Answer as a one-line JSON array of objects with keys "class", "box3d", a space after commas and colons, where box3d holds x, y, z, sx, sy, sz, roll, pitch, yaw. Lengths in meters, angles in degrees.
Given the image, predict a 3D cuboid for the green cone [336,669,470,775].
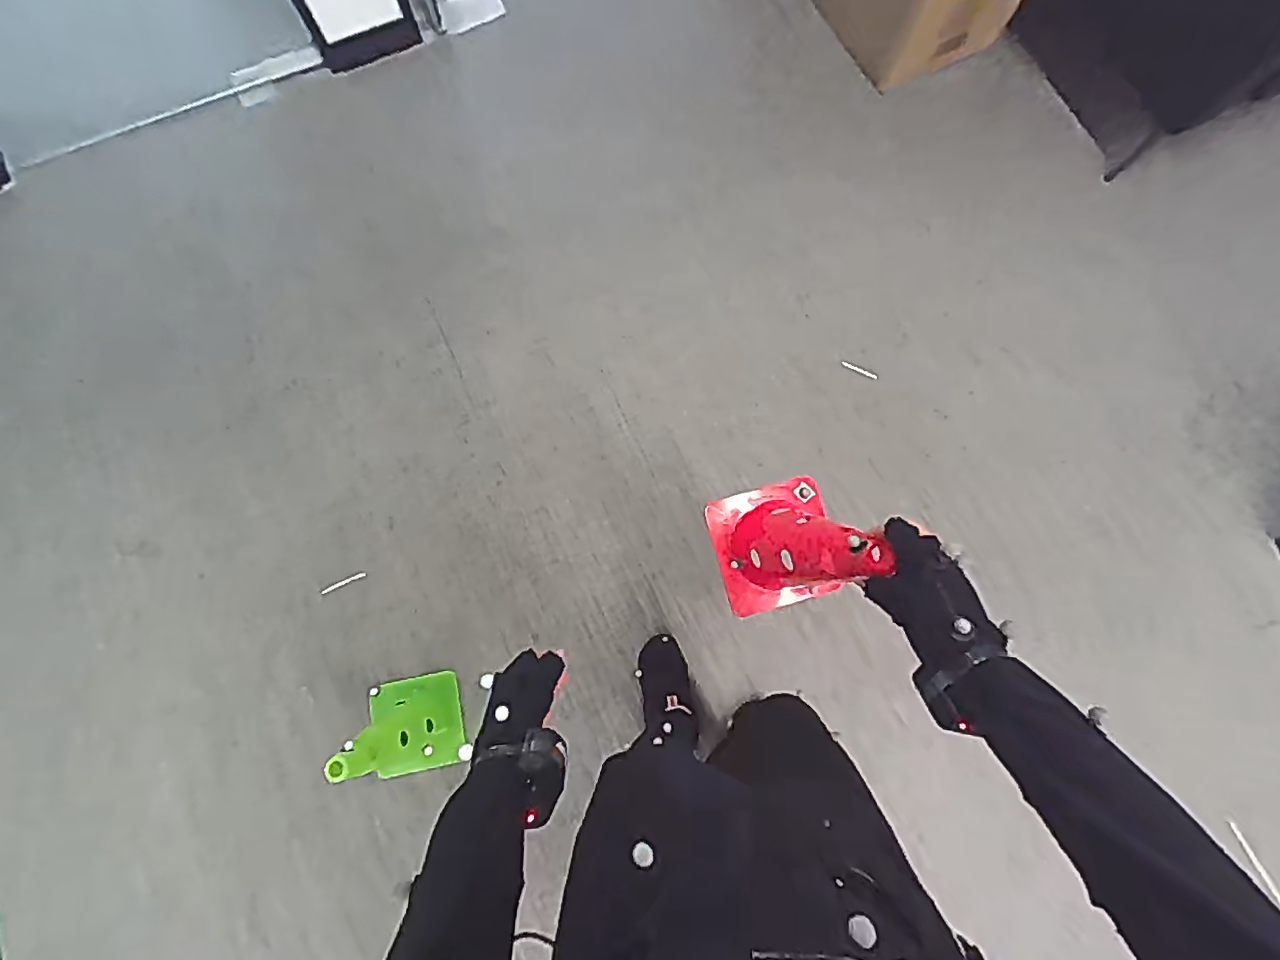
[{"class": "green cone", "box3d": [-0.496, 0.515, 1.072, 0.202, 0.368, 0.200, -12, 78, -4]}]
